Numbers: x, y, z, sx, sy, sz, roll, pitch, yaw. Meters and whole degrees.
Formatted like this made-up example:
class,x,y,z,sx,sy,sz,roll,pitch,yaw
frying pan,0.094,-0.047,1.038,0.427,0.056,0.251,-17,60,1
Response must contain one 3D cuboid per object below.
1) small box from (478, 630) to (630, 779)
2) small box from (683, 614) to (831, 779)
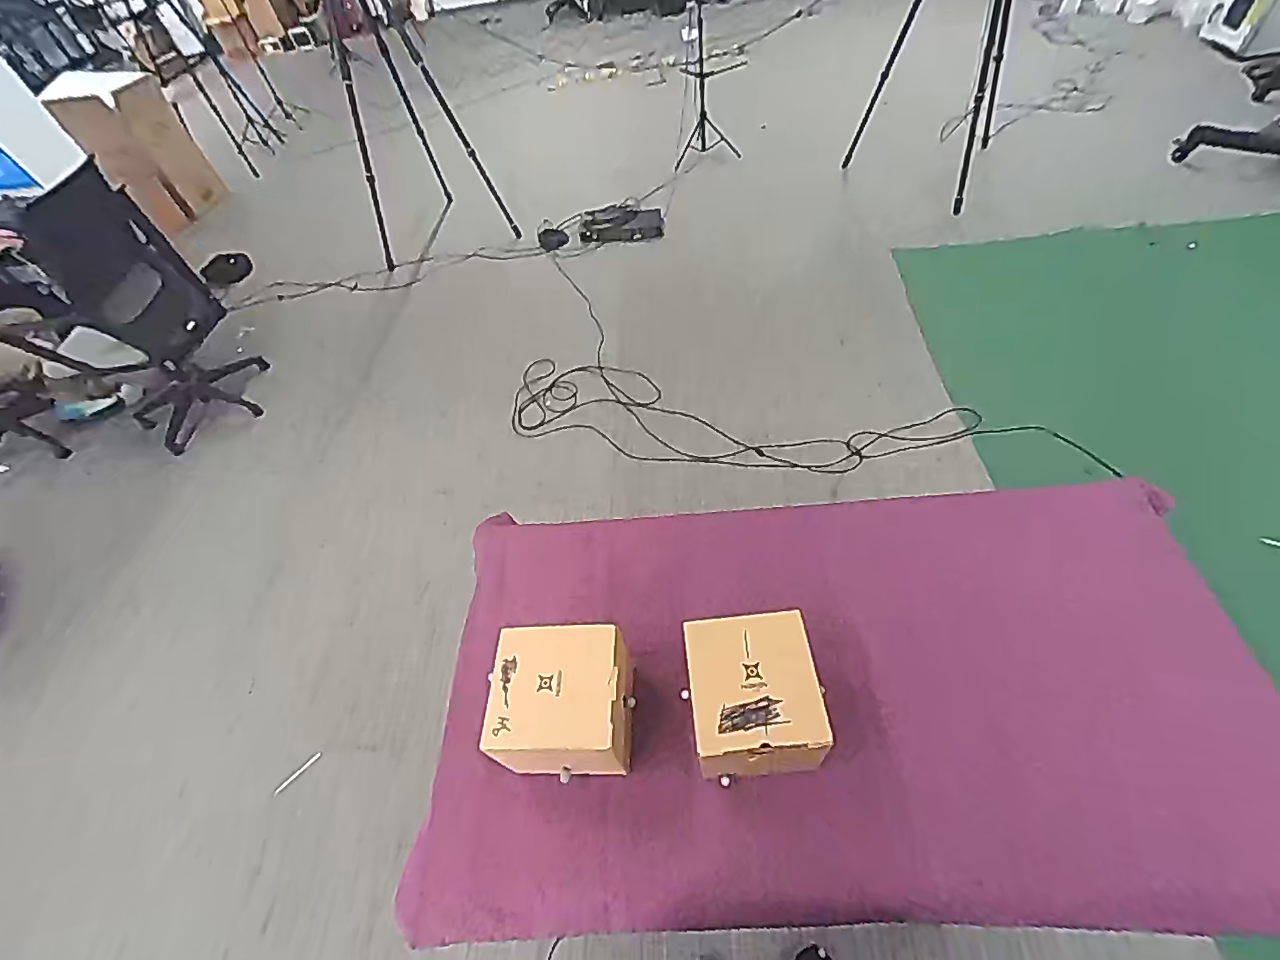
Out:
class,x,y,z,sx,sy,sz,roll,pitch,yaw
small box,-0.110,0.329,0.788,0.179,0.176,0.168,-2,52,5
small box,0.155,0.311,0.762,0.168,0.176,0.179,-7,51,3
